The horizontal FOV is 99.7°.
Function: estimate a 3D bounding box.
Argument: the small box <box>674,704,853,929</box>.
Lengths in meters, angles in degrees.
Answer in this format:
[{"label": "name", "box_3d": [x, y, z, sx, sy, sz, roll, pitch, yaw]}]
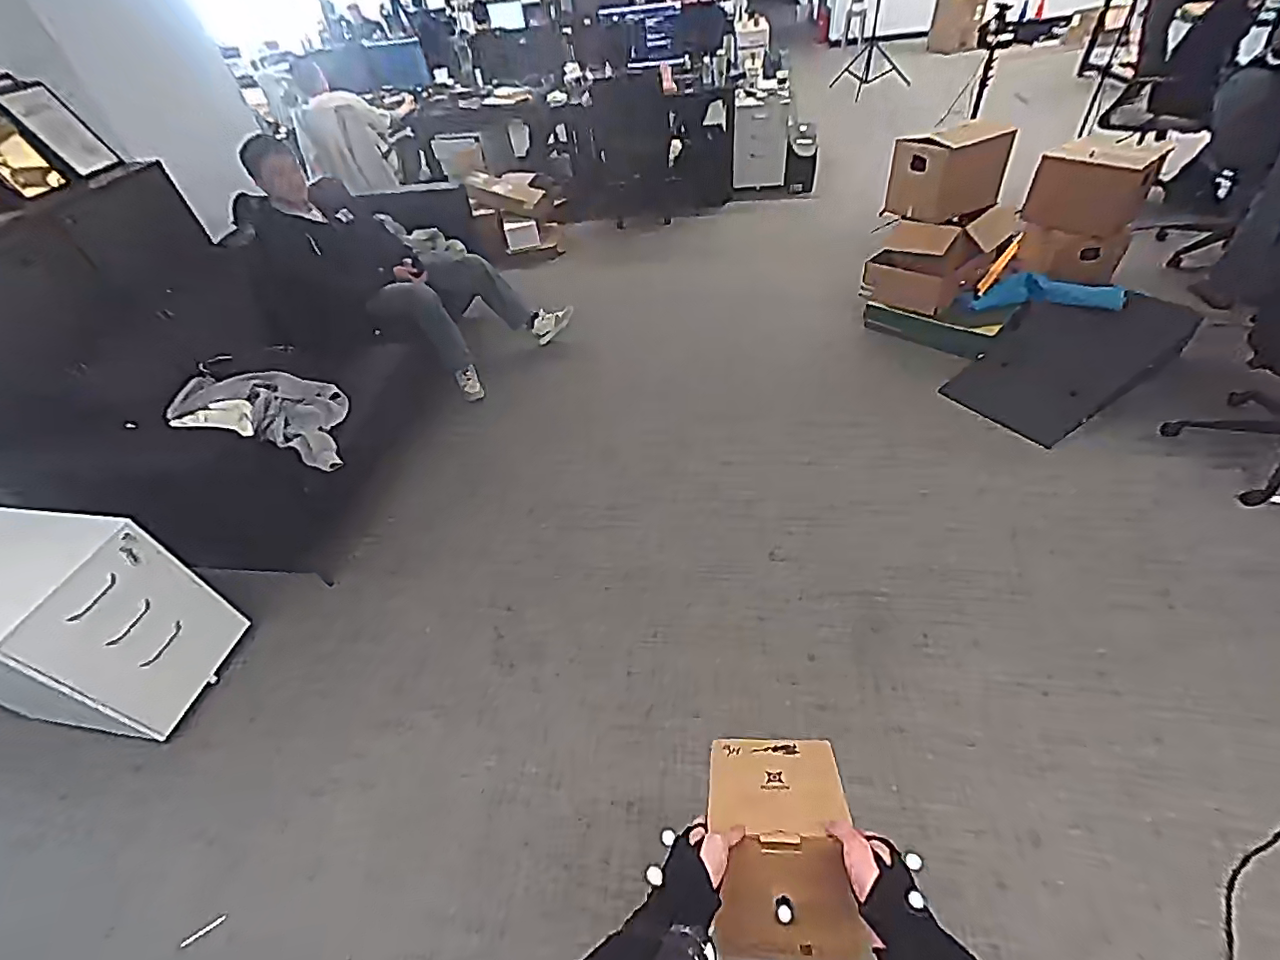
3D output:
[{"label": "small box", "box_3d": [0.164, 0.439, 0.725, 0.179, 0.176, 0.168, -9, 9, -19]}]
